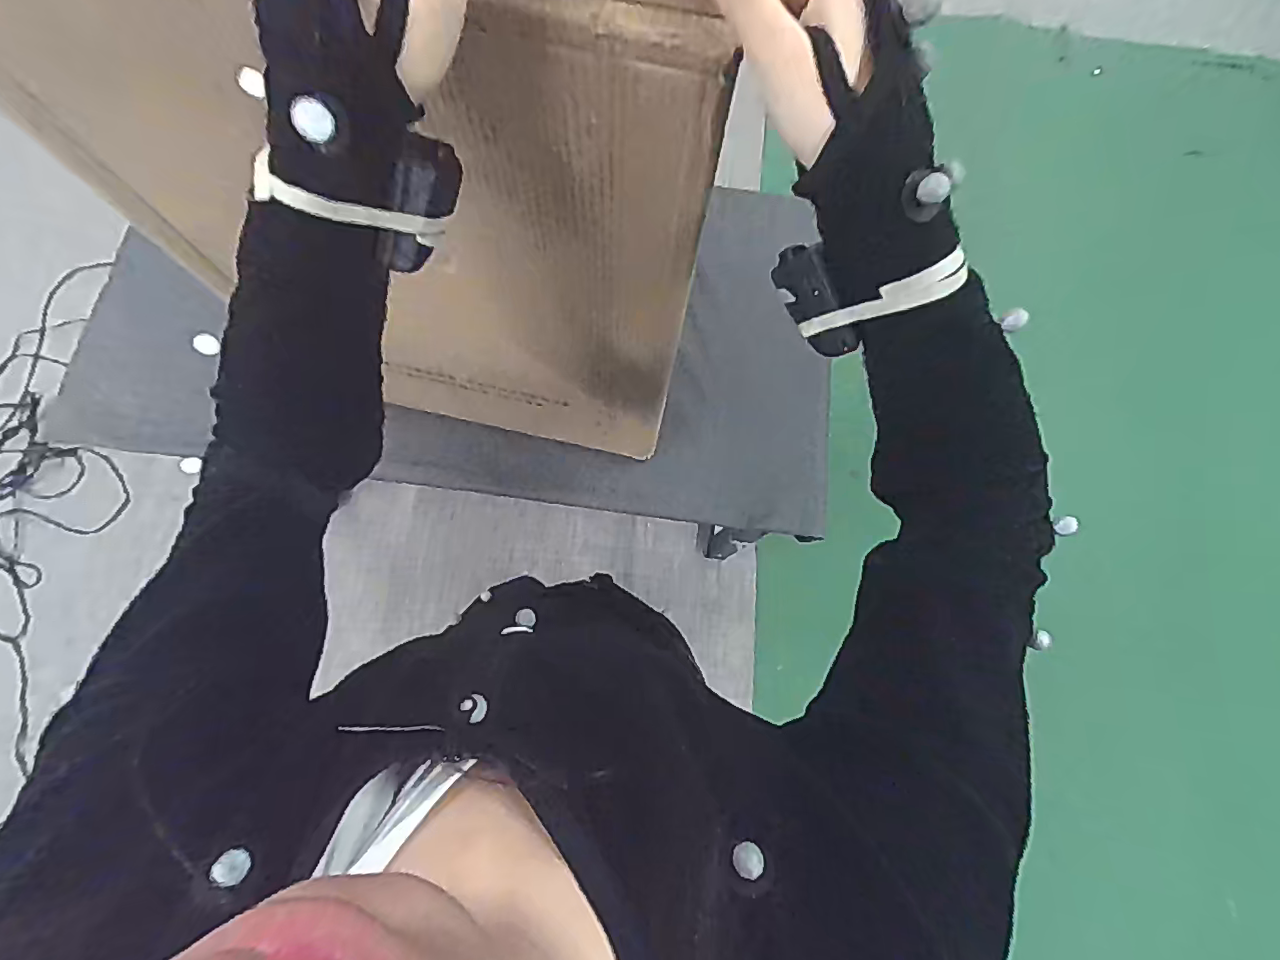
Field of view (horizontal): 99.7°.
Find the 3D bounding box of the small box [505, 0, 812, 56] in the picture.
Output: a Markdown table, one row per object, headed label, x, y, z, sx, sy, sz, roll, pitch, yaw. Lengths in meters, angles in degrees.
| label | x | y | z | sx | sy | sz | roll | pitch | yaw |
| --- | --- | --- | --- | --- | --- | --- | --- | --- | --- |
| small box | 0.013 | -0.314 | 0.197 | 0.168 | 0.176 | 0.179 | 8 | 77 | -3 |
